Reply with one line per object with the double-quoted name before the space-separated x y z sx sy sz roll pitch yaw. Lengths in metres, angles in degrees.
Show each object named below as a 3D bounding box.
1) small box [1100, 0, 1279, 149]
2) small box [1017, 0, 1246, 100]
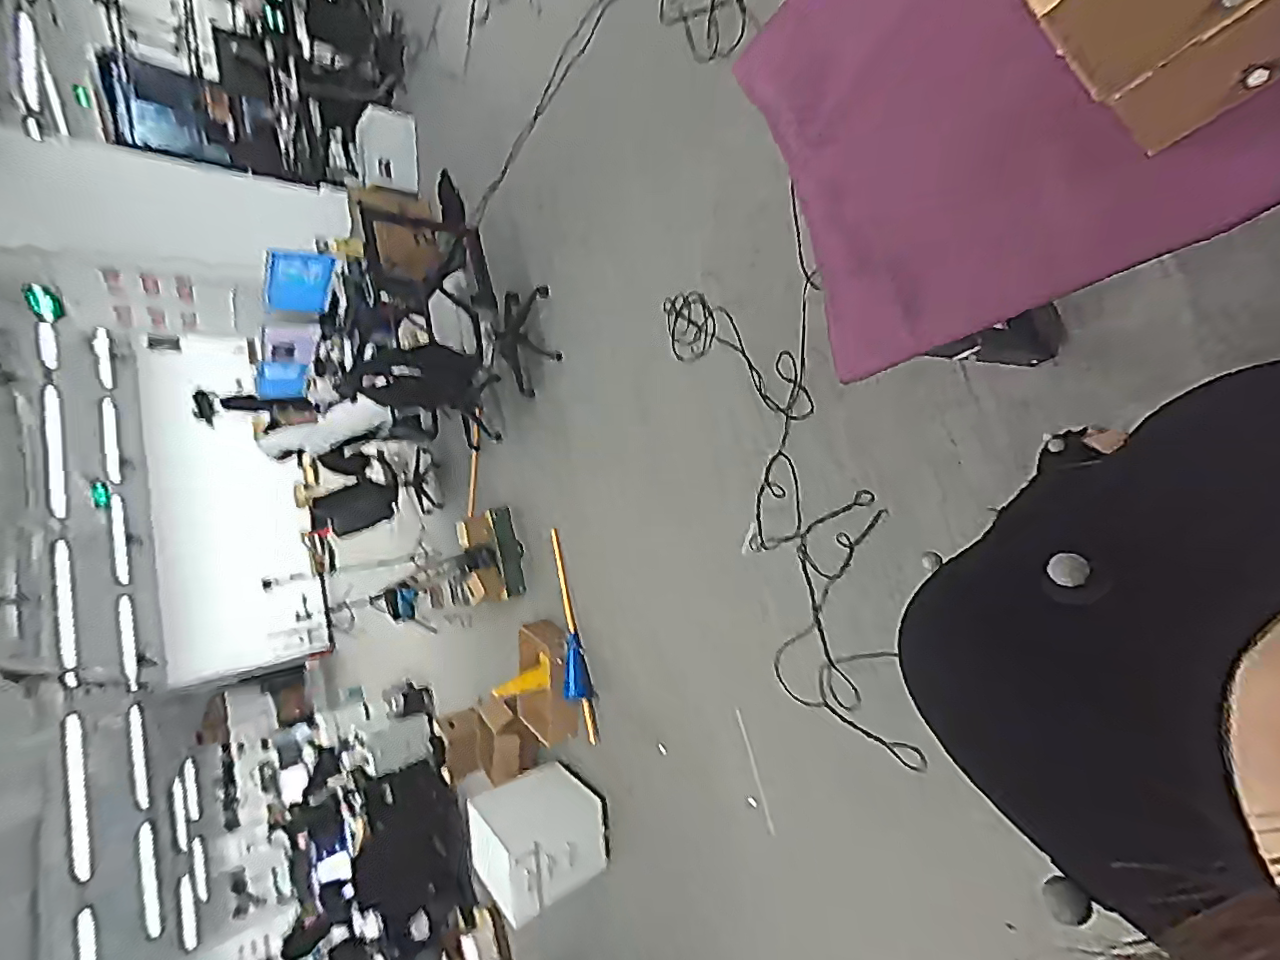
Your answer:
"small box" 0.497 -0.443 0.482 0.168 0.176 0.179 -30 70 50
"small box" 0.367 -0.429 0.383 0.179 0.176 0.168 -30 69 49
